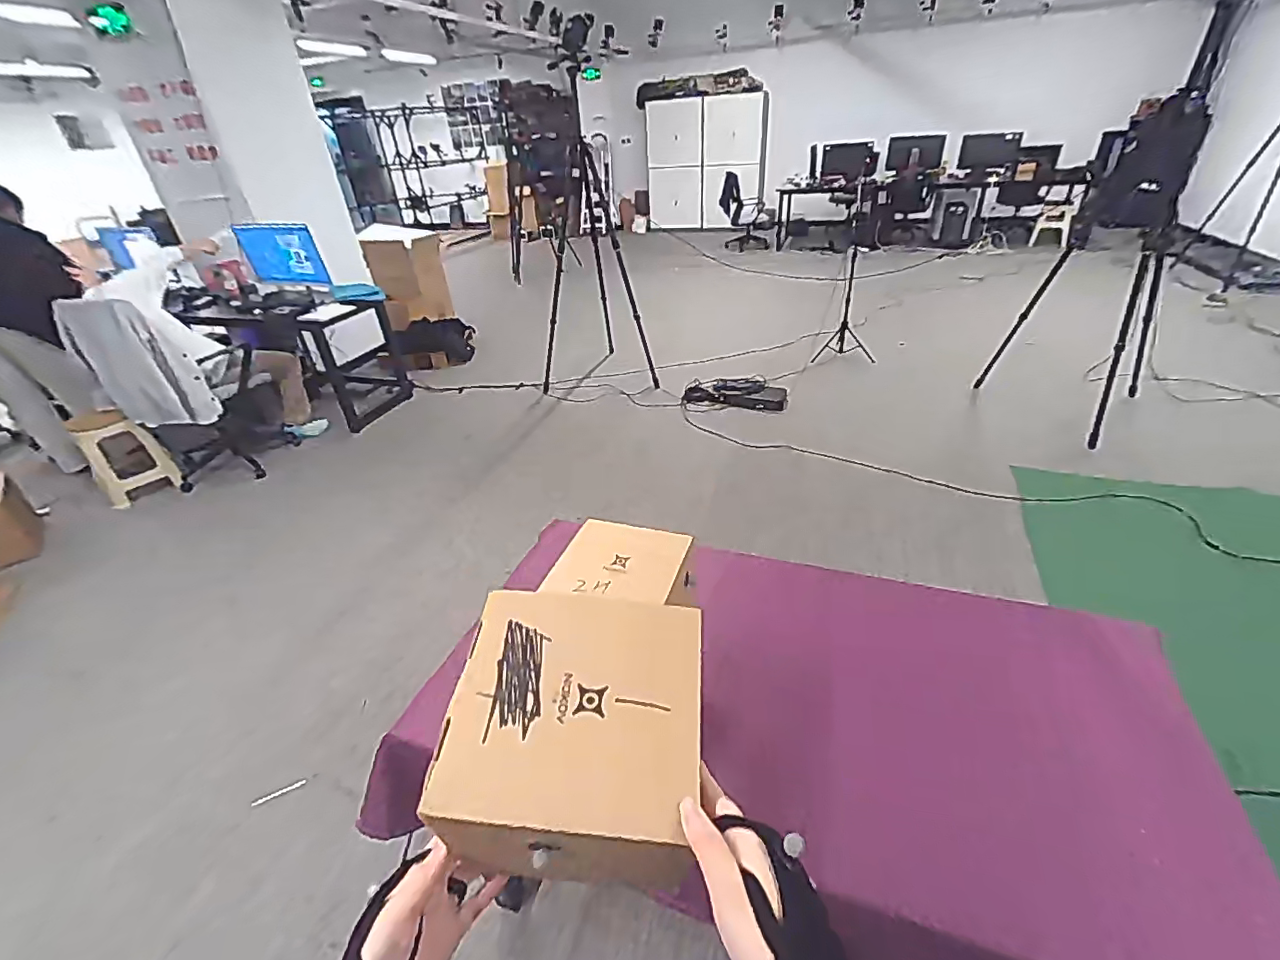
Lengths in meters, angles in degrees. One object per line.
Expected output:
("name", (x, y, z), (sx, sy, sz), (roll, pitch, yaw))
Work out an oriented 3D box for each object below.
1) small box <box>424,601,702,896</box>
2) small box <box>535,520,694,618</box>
("small box", (-0.045, 0.221, 0.442), (0.179, 0.176, 0.168), (5, 45, 1))
("small box", (-0.026, 0.185, 0.767), (0.168, 0.176, 0.179), (8, 35, 19))
